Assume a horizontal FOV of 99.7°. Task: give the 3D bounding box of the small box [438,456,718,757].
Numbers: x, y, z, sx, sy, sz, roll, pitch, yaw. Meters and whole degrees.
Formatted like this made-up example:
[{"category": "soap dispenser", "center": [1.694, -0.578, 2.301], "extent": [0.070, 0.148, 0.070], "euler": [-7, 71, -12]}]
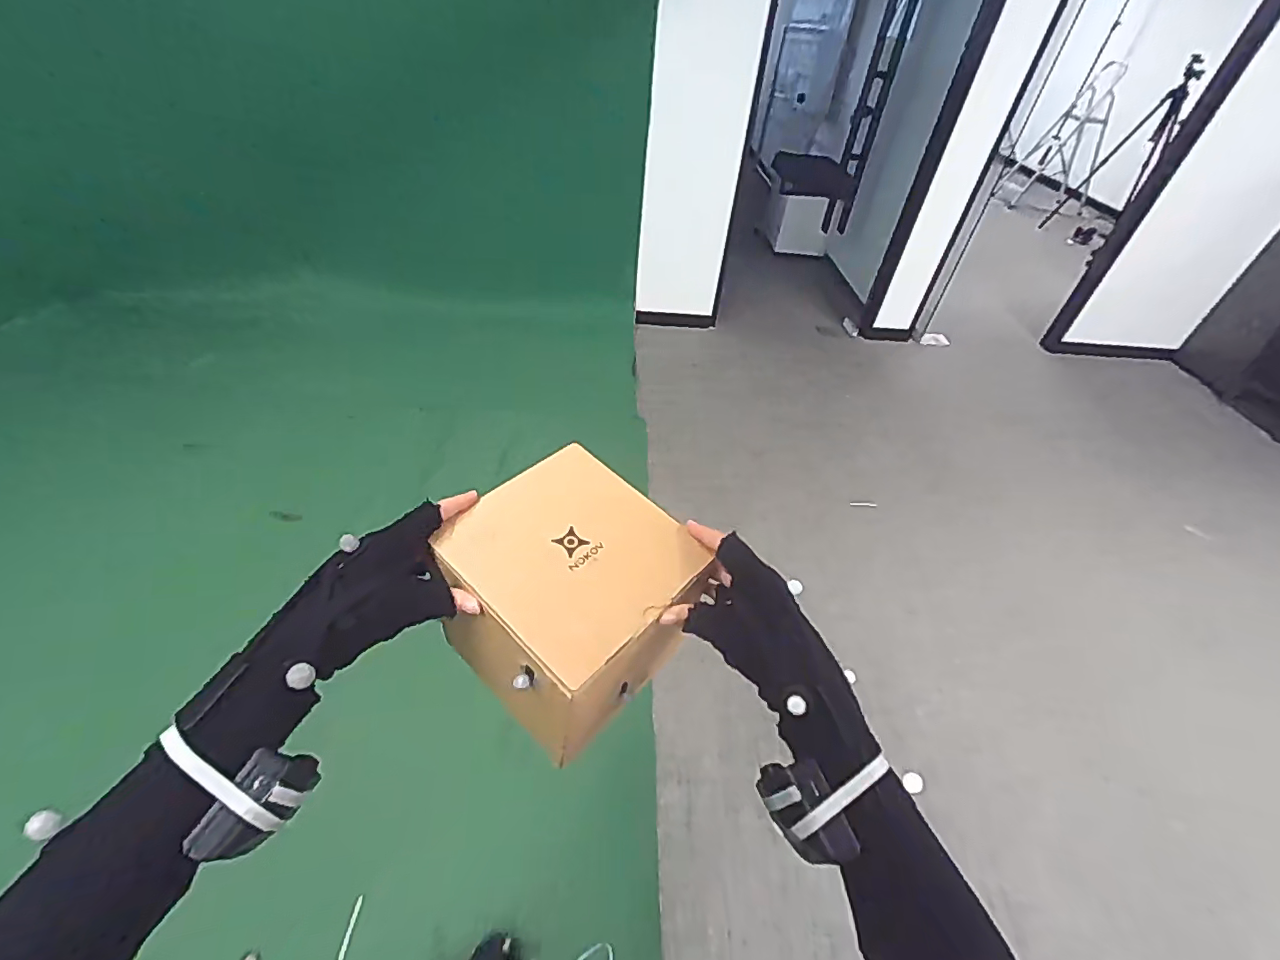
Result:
[{"category": "small box", "center": [-0.063, 0.115, 0.500], "extent": [0.179, 0.176, 0.168], "euler": [39, 51, 22]}]
